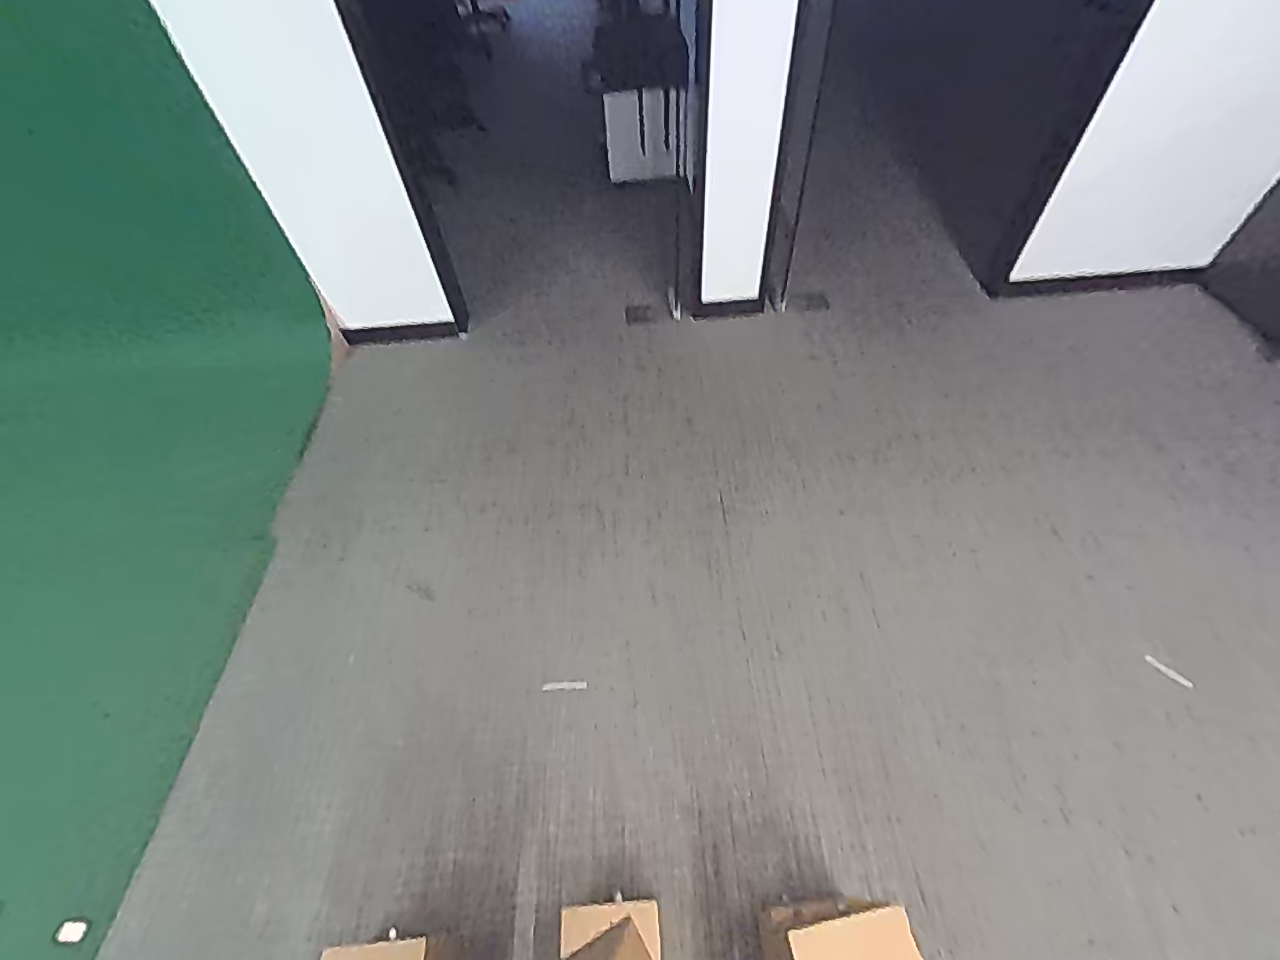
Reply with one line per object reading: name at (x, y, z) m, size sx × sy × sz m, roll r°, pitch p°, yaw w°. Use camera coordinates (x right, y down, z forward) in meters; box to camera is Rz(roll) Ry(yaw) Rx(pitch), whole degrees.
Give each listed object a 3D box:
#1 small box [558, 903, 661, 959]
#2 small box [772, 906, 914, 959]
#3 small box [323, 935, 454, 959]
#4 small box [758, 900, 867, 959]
small box at (-0.048, 0.846, 0.933) m, size 0.168 × 0.176 × 0.179 m, roll -4°, pitch 51°, yaw 0°
small box at (0.301, 0.742, 0.785) m, size 0.179 × 0.176 × 0.168 m, roll -10°, pitch 52°, yaw -5°
small box at (-0.434, 0.892, 0.922) m, size 0.179 × 0.176 × 0.168 m, roll -5°, pitch 51°, yaw 0°
small box at (0.305, 0.831, 0.922) m, size 0.179 × 0.176 × 0.168 m, roll -6°, pitch 52°, yaw -1°
